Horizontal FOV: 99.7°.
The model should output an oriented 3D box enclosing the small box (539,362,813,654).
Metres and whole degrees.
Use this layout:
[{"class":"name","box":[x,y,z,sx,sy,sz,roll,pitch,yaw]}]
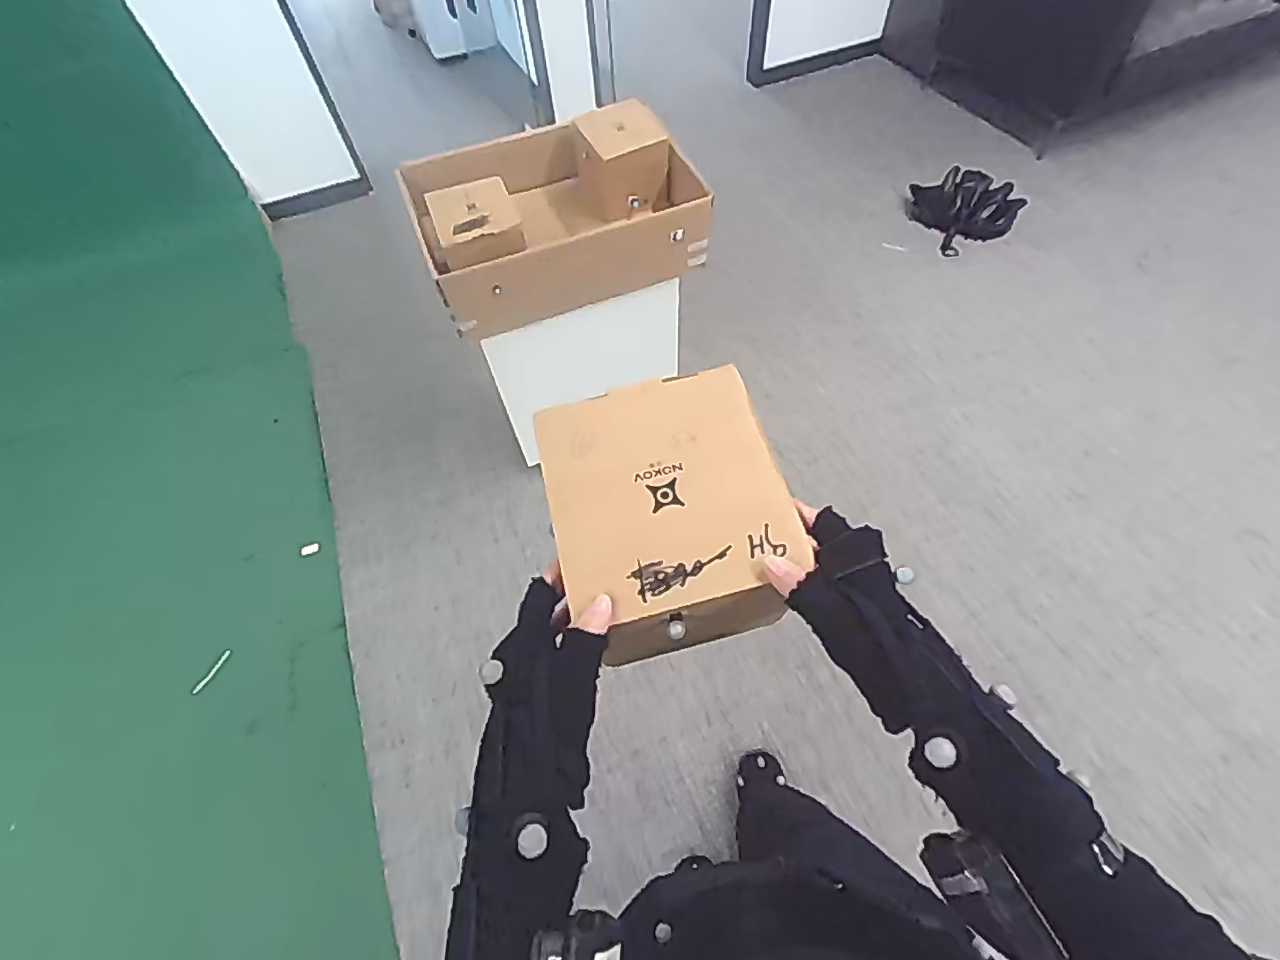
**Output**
[{"class":"small box","box":[0.023,0.033,0.463,0.168,0.176,0.179,-15,64,-2]}]
